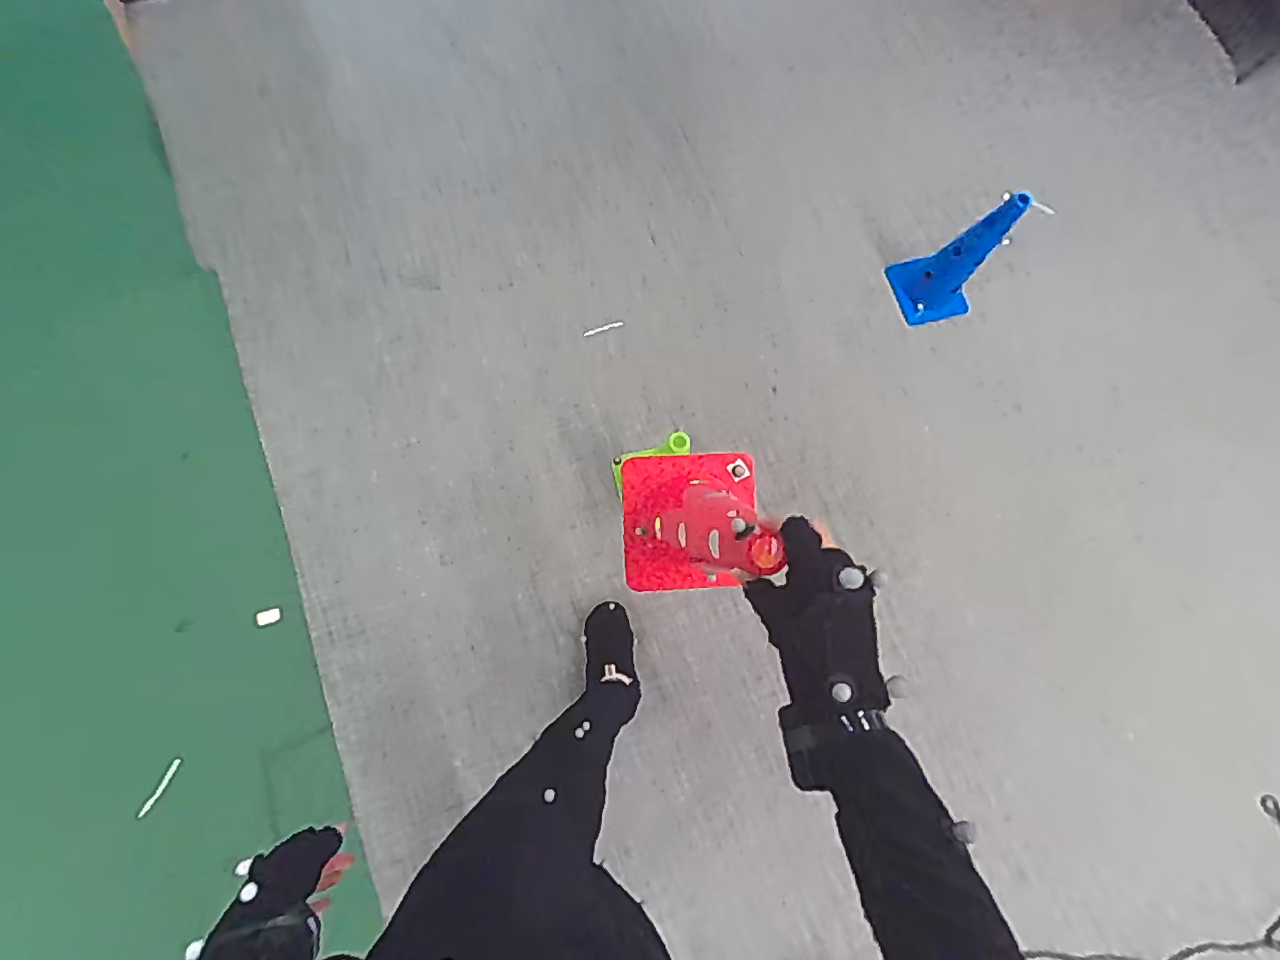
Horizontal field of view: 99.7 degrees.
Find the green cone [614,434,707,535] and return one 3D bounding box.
[{"bbox_3d":[0.065,-0.017,1.184,0.202,0.368,0.200,-14,77,-9],"label":"green cone"}]
